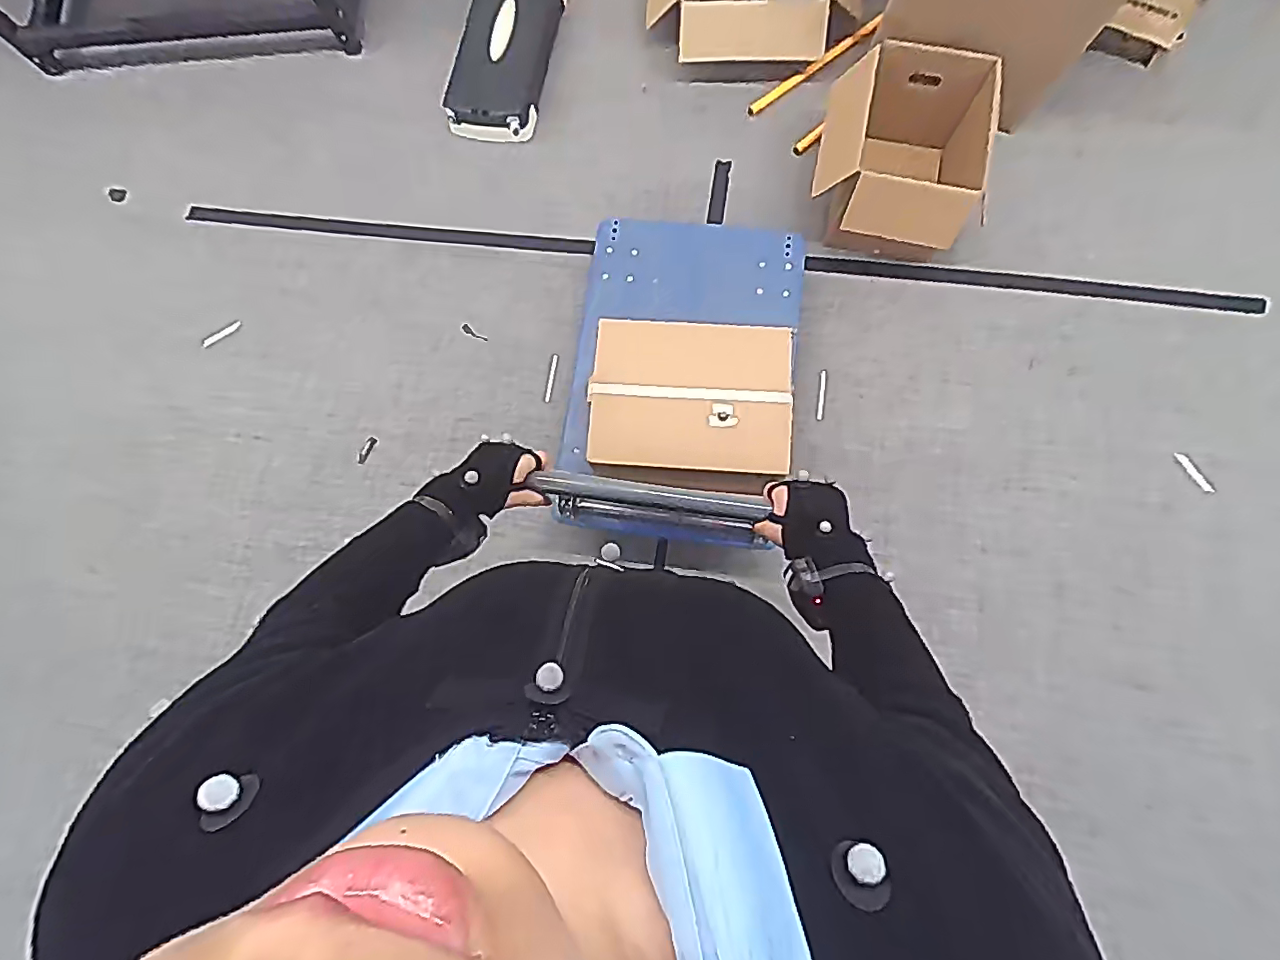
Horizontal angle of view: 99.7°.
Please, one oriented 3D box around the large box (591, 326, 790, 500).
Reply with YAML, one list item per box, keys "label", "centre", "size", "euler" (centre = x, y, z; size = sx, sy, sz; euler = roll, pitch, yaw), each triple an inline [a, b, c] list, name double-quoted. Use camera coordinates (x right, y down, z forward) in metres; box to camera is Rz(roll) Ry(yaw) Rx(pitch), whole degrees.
- label: "large box"
  centre: [0.107, -0.136, 1.250]
  size: [0.408, 0.320, 0.320]
  euler: [4, 79, 2]
